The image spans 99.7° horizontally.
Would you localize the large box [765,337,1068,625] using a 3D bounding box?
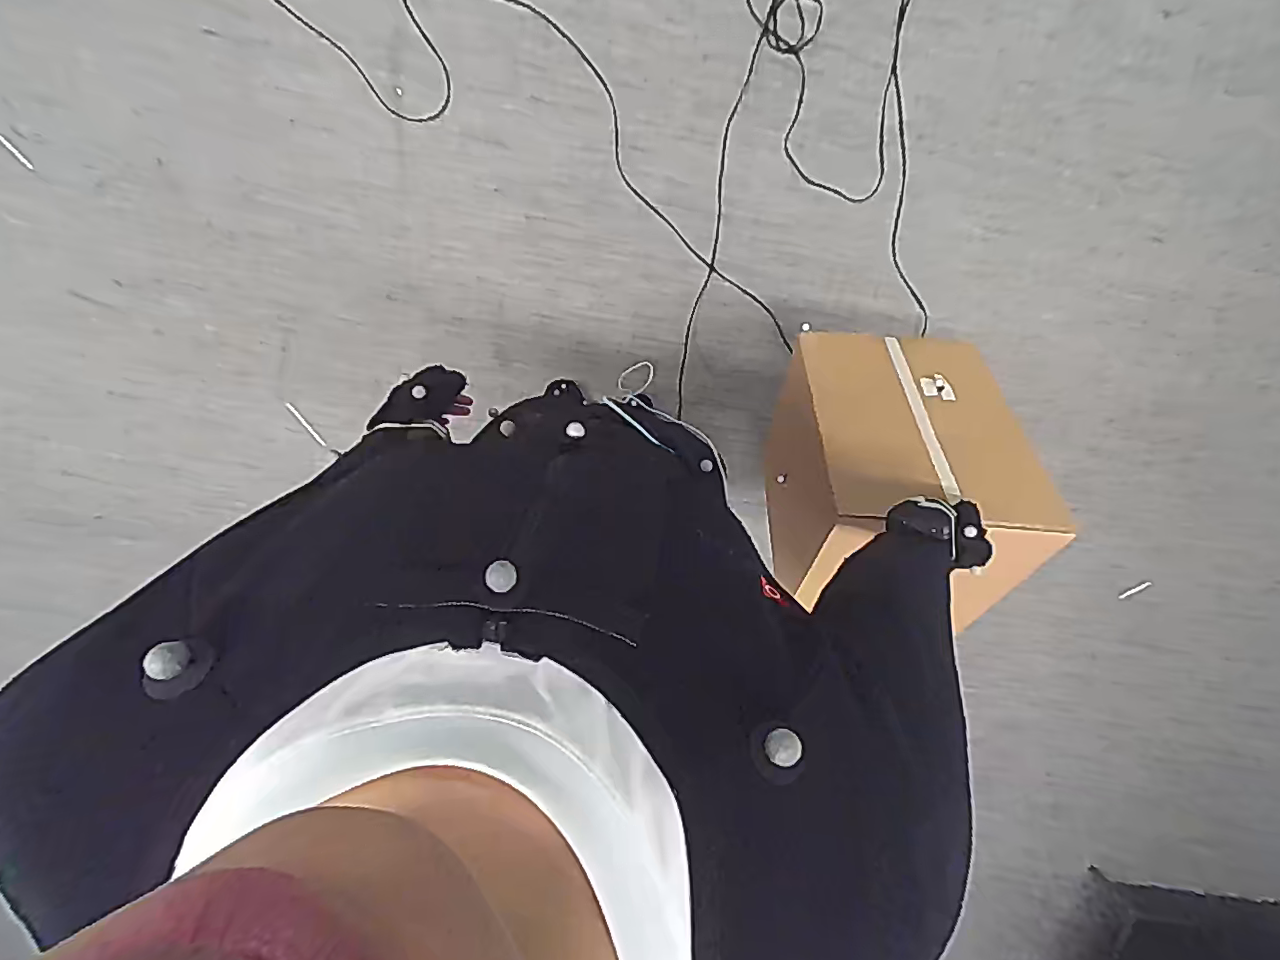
[{"bbox_3d":[0.418,0.003,0.951,0.320,0.408,0.320,5,140,0],"label":"large box"}]
